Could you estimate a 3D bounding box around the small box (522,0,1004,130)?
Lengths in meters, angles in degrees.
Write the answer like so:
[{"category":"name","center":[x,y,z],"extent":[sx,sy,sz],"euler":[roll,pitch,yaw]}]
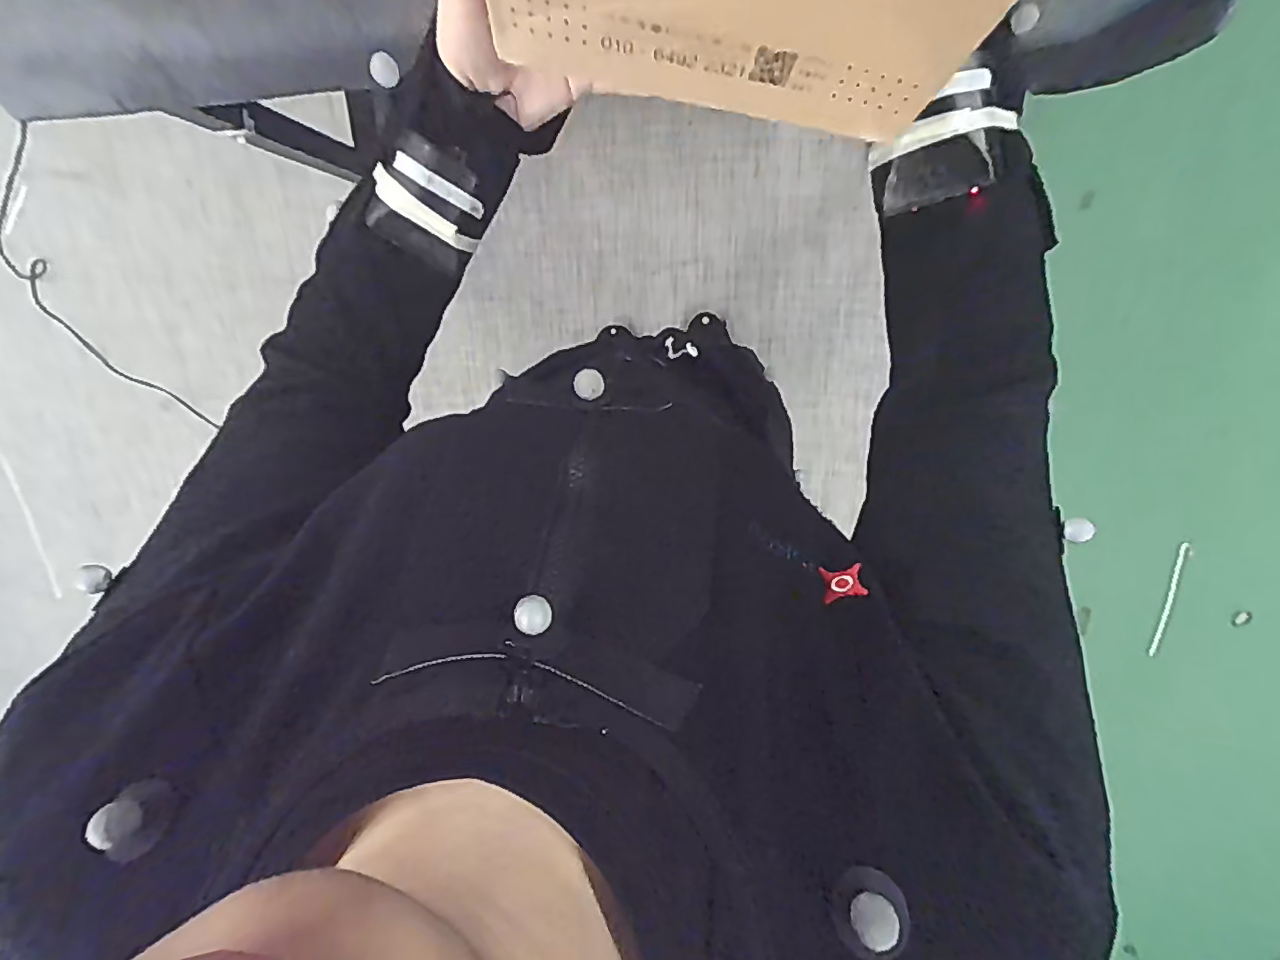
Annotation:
[{"category":"small box","center":[0.047,-0.236,0.142],"extent":[0.168,0.176,0.179],"euler":[8,87,-4]}]
